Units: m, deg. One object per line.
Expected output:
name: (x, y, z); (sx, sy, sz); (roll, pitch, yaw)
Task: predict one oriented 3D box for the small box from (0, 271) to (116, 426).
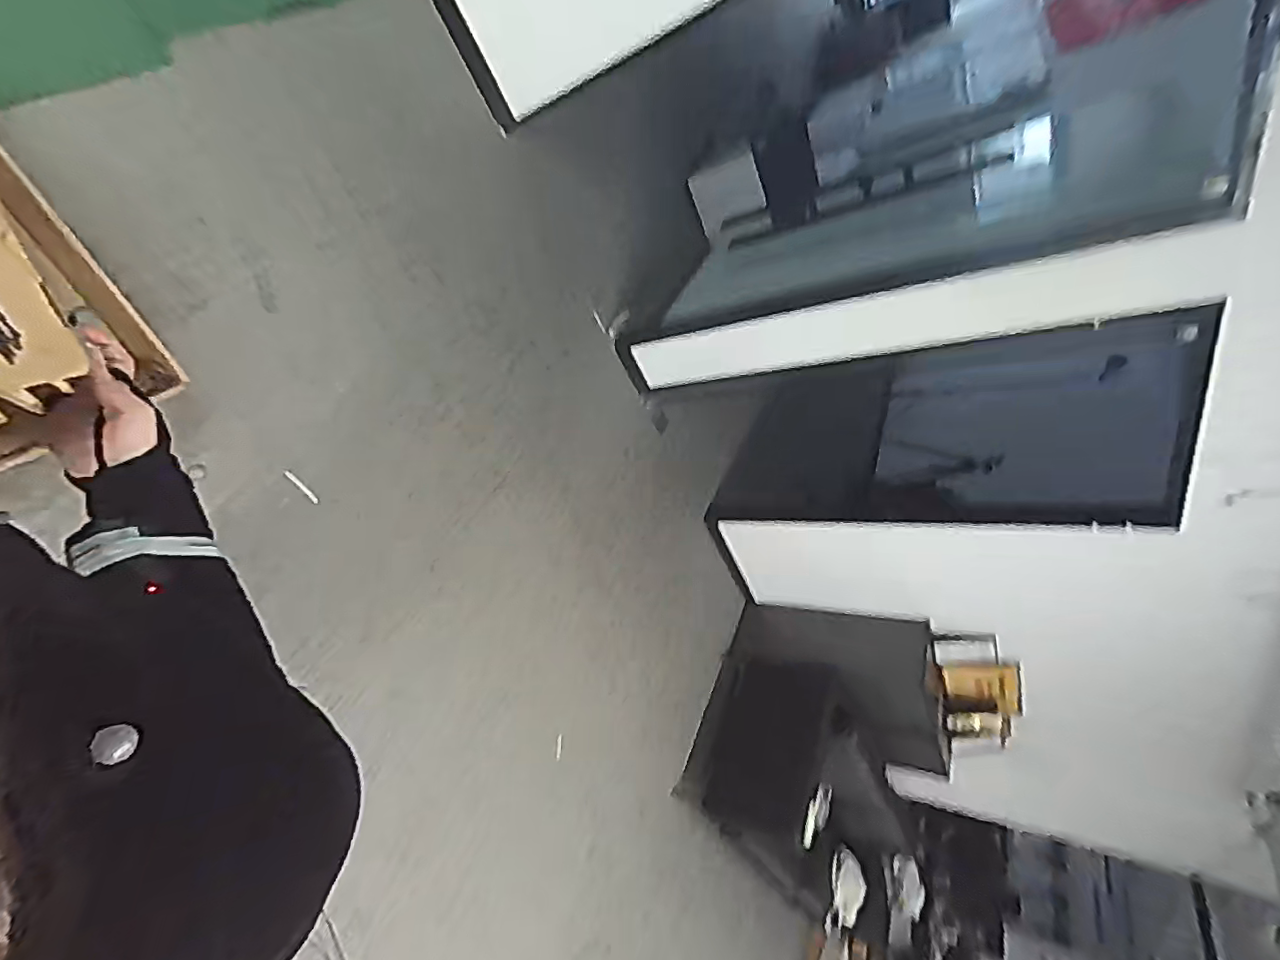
small box: (-0.970, -0.188, 0.820); (0.179, 0.176, 0.168); (-54, 129, -42)
